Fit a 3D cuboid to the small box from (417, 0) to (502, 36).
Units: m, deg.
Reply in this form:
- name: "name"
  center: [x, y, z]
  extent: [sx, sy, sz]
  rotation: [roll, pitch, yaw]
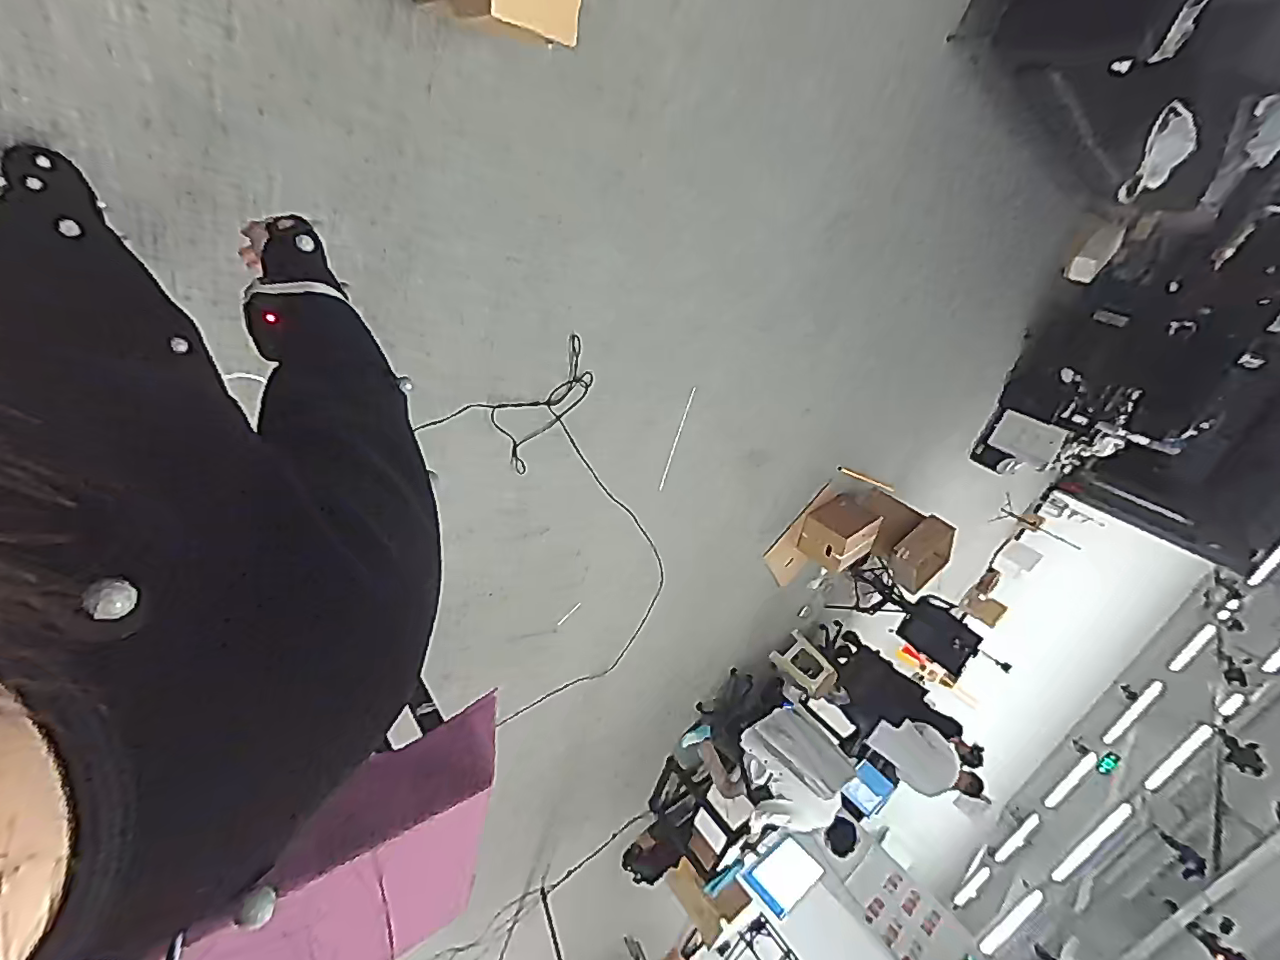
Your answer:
- name: "small box"
  center: [-0.322, -0.994, 1.053]
  extent: [0.179, 0.176, 0.168]
  rotation: [-9, 127, -41]

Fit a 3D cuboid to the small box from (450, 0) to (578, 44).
- name: "small box"
  center: [-0.224, -0.901, 0.962]
  extent: [0.179, 0.176, 0.168]
  rotation: [-15, 130, -38]
